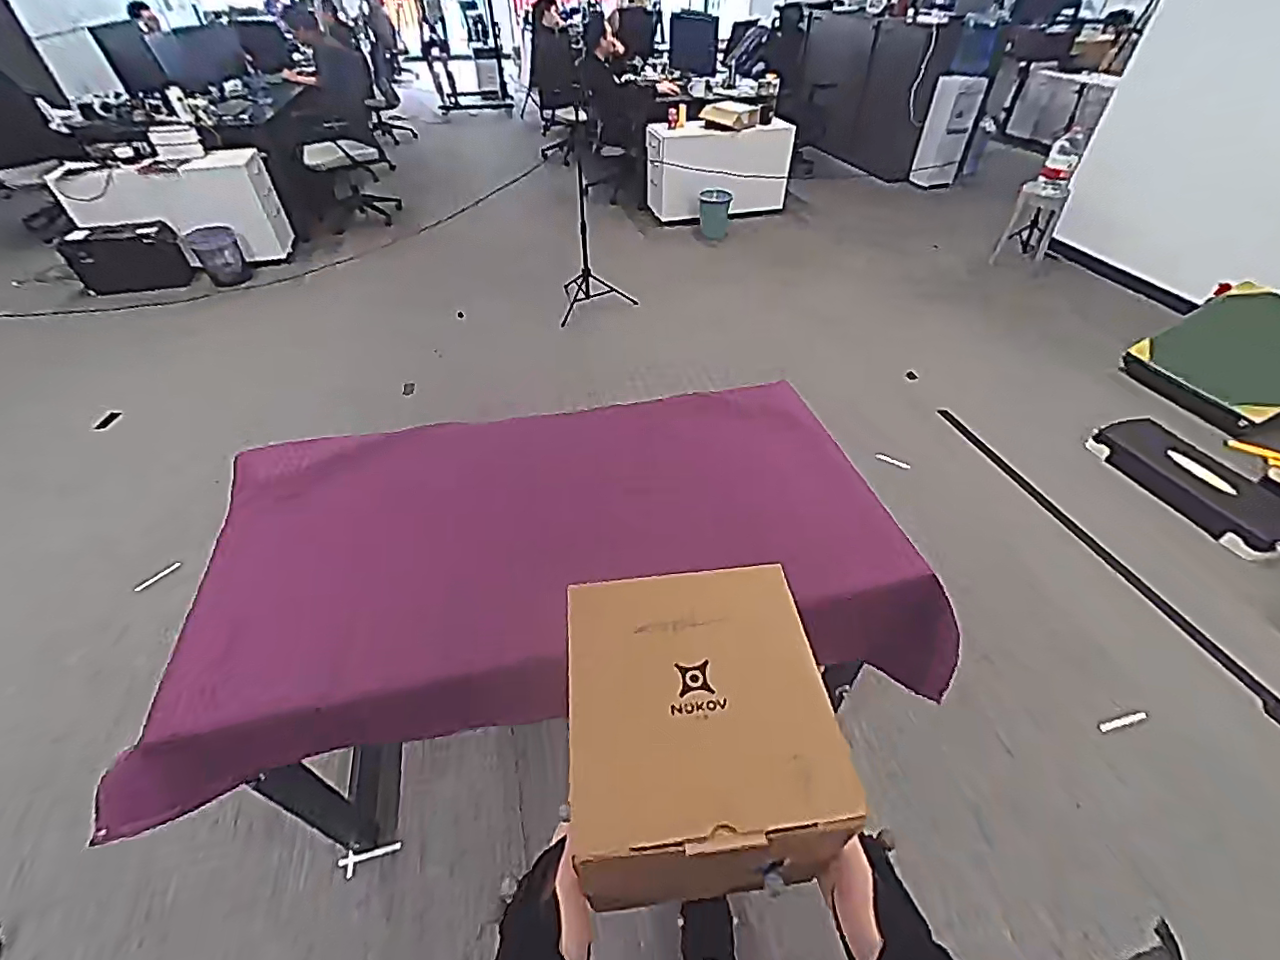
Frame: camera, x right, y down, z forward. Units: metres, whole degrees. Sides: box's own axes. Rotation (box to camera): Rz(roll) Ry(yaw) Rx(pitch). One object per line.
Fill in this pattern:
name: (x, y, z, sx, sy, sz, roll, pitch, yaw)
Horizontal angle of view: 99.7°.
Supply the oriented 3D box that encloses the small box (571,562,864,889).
small box: (0.039, 0.187, 0.409, 0.168, 0.176, 0.179, -5, 44, -4)
